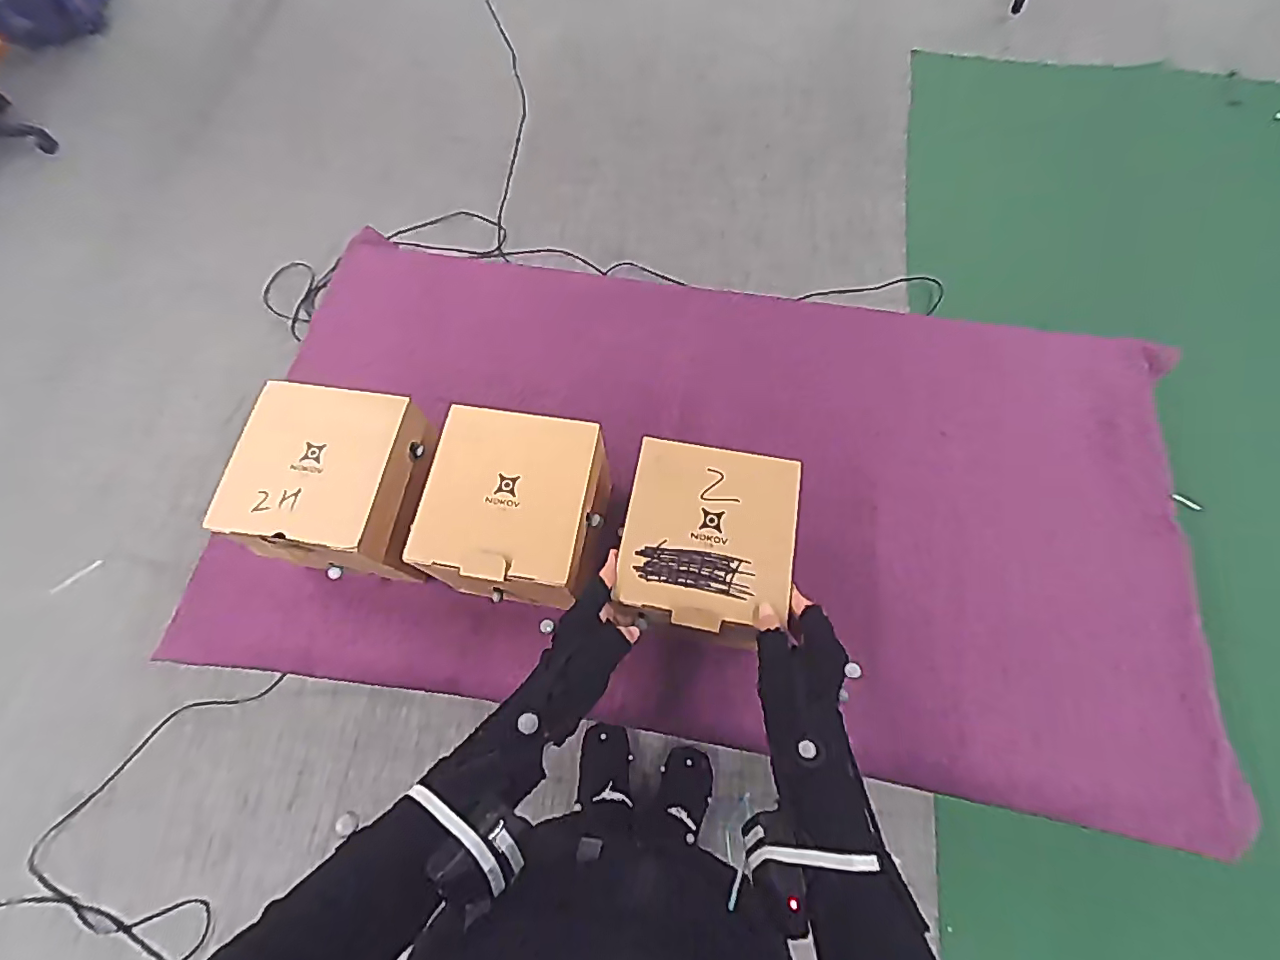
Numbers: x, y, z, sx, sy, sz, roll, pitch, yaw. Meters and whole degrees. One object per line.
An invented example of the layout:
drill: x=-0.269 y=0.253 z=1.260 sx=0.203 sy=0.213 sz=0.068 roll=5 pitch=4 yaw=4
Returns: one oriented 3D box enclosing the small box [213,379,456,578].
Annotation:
small box: x=-0.339 y=0.006 z=0.644 sx=0.168 sy=0.176 sz=0.179 roll=8 pitch=70 yaw=5
